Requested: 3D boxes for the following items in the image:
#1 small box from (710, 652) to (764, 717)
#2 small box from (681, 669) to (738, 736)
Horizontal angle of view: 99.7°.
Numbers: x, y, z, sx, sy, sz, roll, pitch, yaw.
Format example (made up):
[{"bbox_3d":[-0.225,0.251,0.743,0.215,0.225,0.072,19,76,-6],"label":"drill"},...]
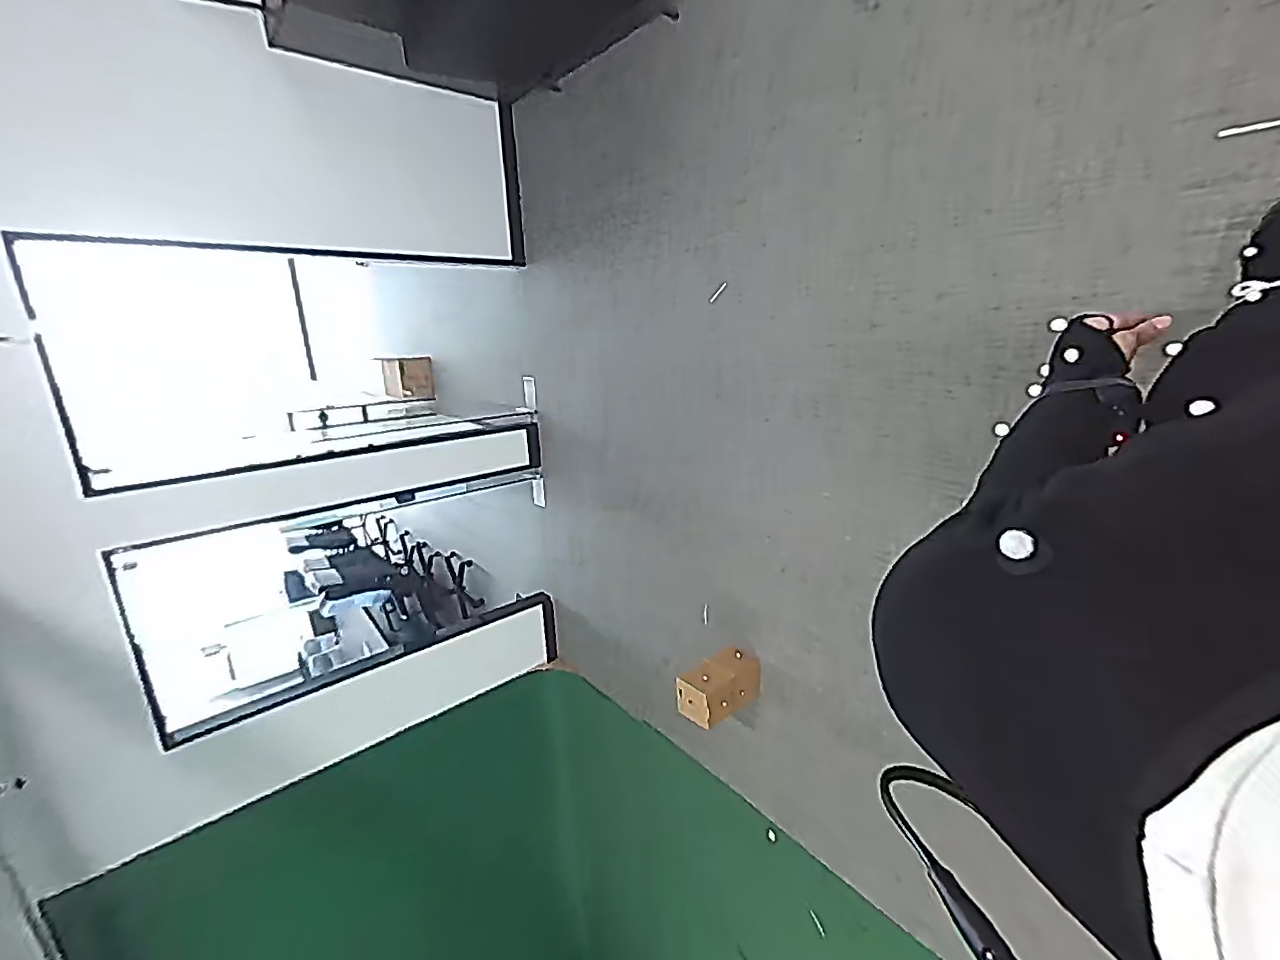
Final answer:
[{"bbox_3d":[0.418,0.873,2.321,0.168,0.176,0.179,15,111,48],"label":"small box"},{"bbox_3d":[0.291,0.907,2.222,0.179,0.176,0.168,11,109,49],"label":"small box"}]
